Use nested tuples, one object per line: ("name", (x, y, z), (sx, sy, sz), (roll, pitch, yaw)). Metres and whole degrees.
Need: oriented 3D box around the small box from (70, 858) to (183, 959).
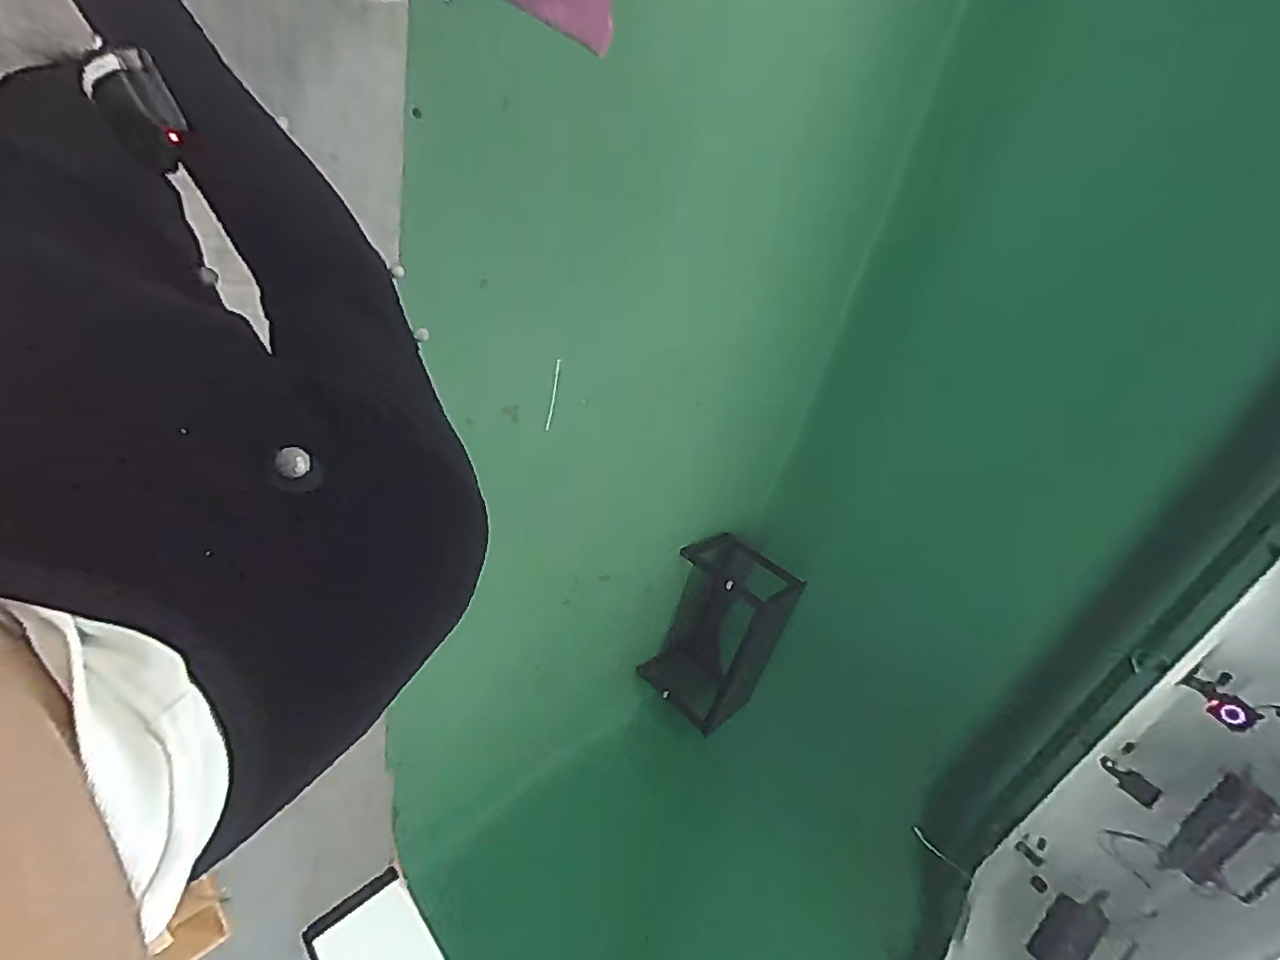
("small box", (-1.295, 1.113, 1.367), (0.168, 0.176, 0.179), (-21, 135, -44))
